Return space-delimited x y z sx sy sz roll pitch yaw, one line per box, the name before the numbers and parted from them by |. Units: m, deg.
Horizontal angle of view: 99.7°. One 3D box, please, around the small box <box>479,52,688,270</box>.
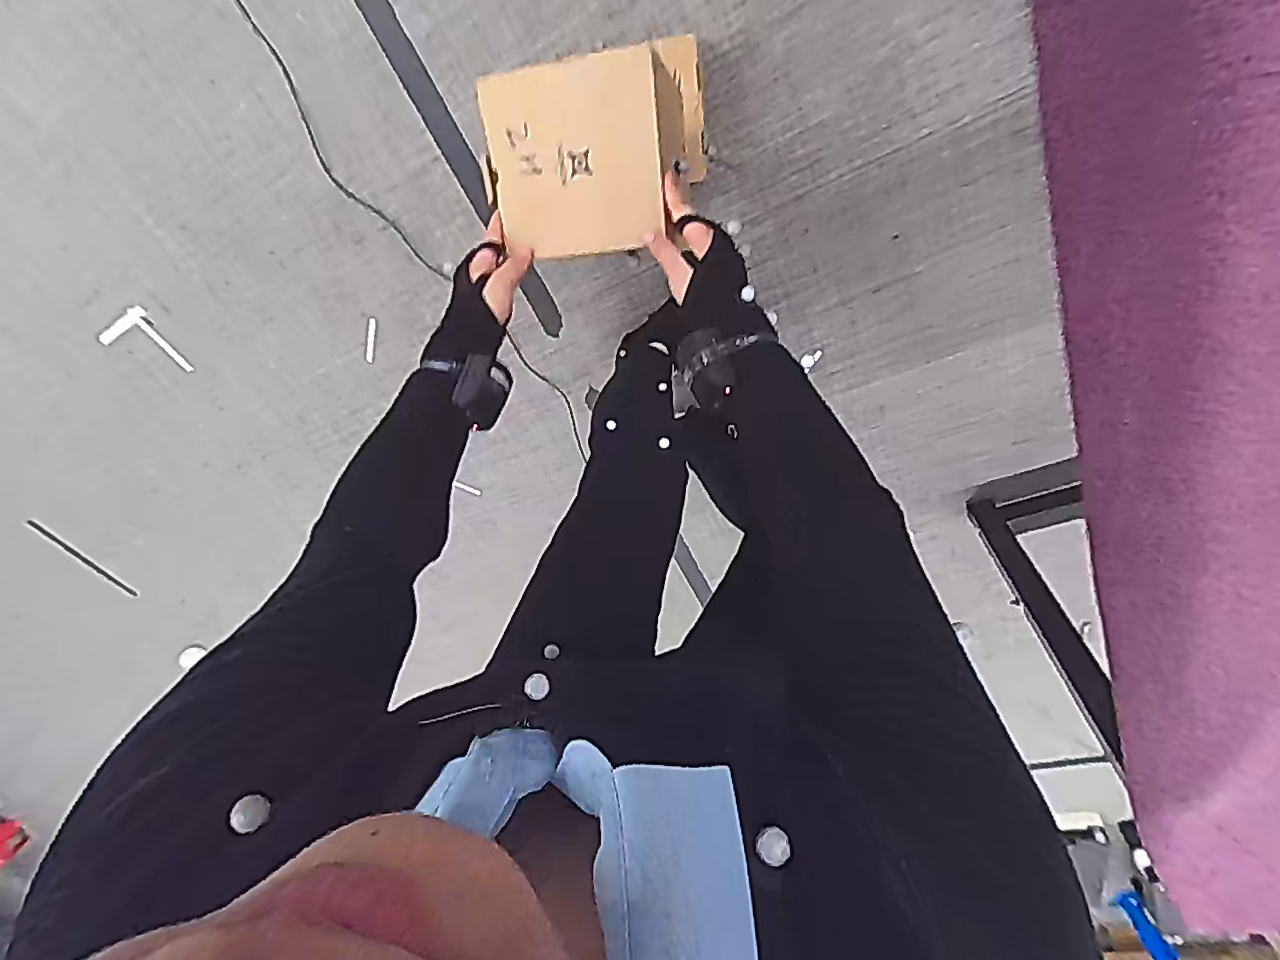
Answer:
small box | -0.044 -0.328 0.590 0.179 0.176 0.168 0 112 15
